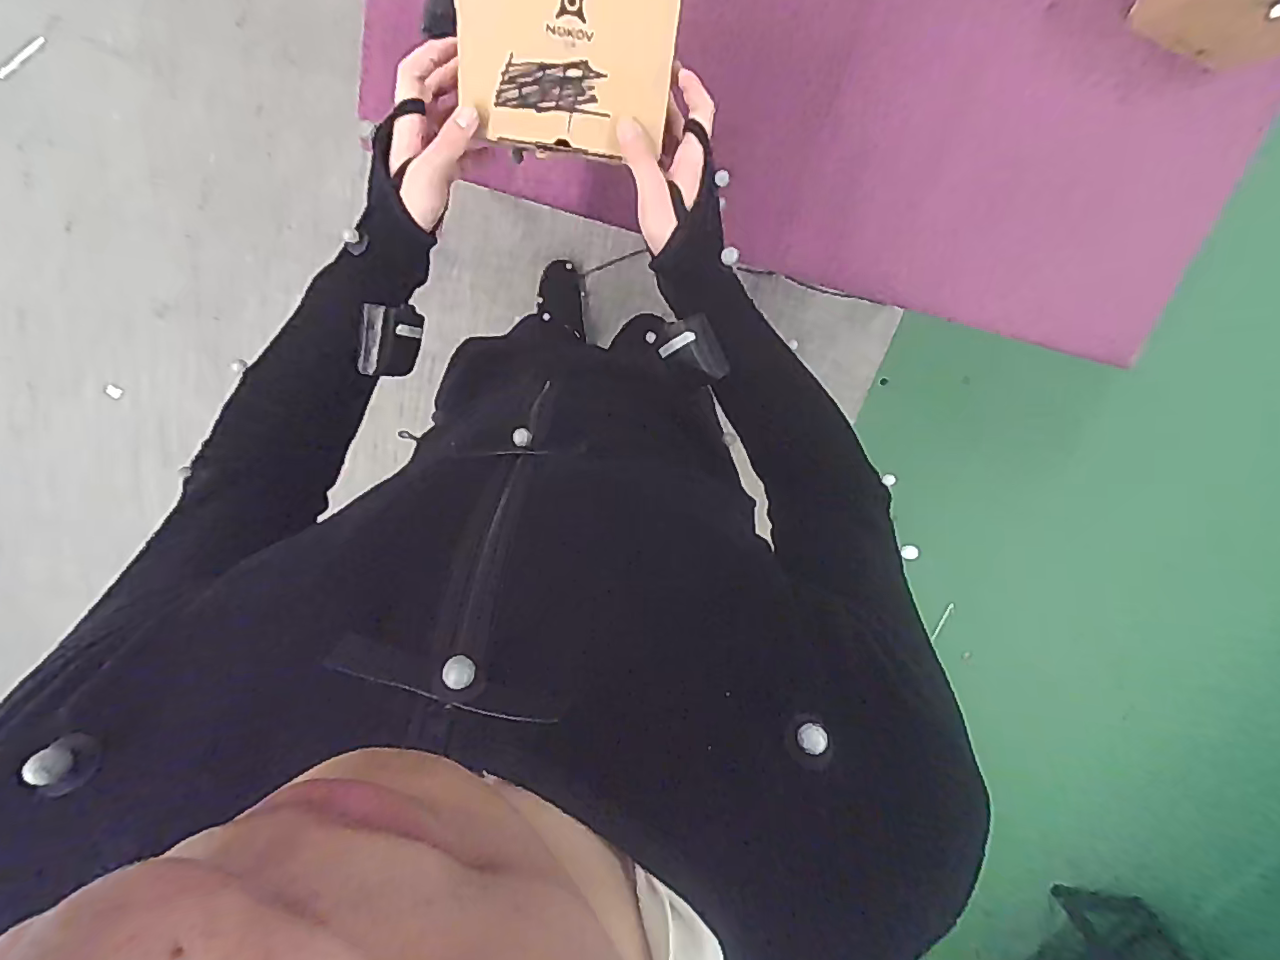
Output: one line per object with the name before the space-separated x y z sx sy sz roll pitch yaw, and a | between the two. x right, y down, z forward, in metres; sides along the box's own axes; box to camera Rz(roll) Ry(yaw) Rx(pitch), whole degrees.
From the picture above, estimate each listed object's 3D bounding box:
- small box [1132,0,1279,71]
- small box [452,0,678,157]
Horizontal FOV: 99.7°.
small box | 0.740 -0.620 0.620 0.168 0.176 0.179 15 110 -10
small box | -0.060 -0.390 0.466 0.168 0.176 0.179 5 118 -9
